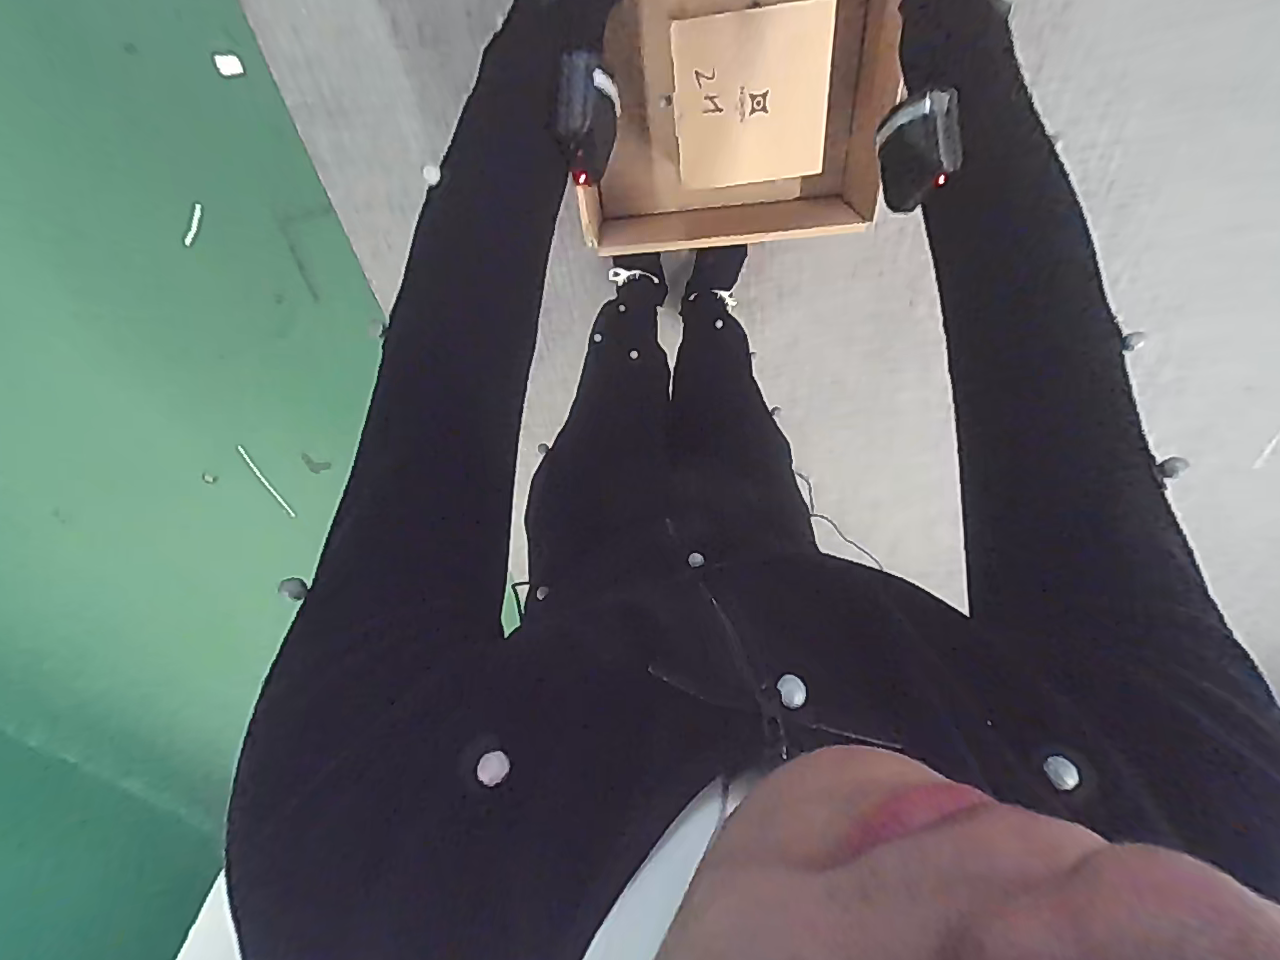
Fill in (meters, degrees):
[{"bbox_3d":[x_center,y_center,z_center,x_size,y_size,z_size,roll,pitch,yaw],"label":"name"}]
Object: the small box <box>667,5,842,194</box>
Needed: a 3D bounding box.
[{"bbox_3d":[0.130,-0.476,0.675,0.179,0.176,0.168,-5,130,4],"label":"small box"}]
